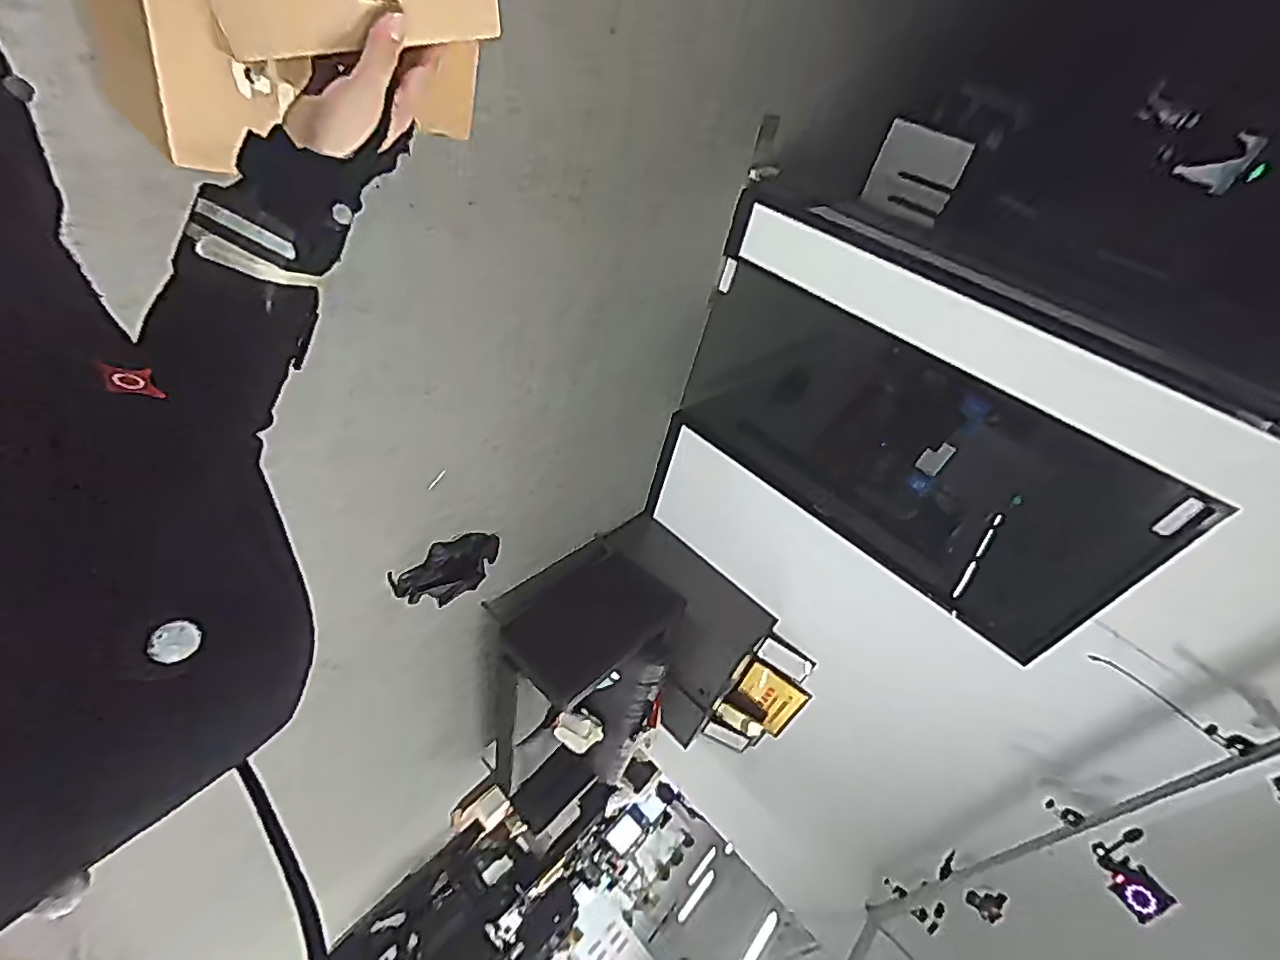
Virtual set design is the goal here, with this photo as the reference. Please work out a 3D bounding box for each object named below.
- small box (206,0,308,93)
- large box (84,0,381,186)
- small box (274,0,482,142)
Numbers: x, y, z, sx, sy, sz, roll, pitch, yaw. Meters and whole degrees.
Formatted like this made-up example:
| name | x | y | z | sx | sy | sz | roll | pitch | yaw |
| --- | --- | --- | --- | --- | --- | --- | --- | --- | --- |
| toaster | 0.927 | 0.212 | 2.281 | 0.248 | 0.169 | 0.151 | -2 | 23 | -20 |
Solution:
| name | x | y | z | sx | sy | sz | roll | pitch | yaw |
| --- | --- | --- | --- | --- | --- | --- | --- | --- | --- |
| small box | -0.445 | -0.626 | 0.709 | 0.168 | 0.176 | 0.179 | -26 | 145 | -47 |
| large box | -0.627 | -0.734 | 0.834 | 0.320 | 0.320 | 0.408 | -24 | 146 | -45 |
| small box | -0.317 | -0.543 | 0.652 | 0.168 | 0.176 | 0.179 | -26 | 147 | -46 |
